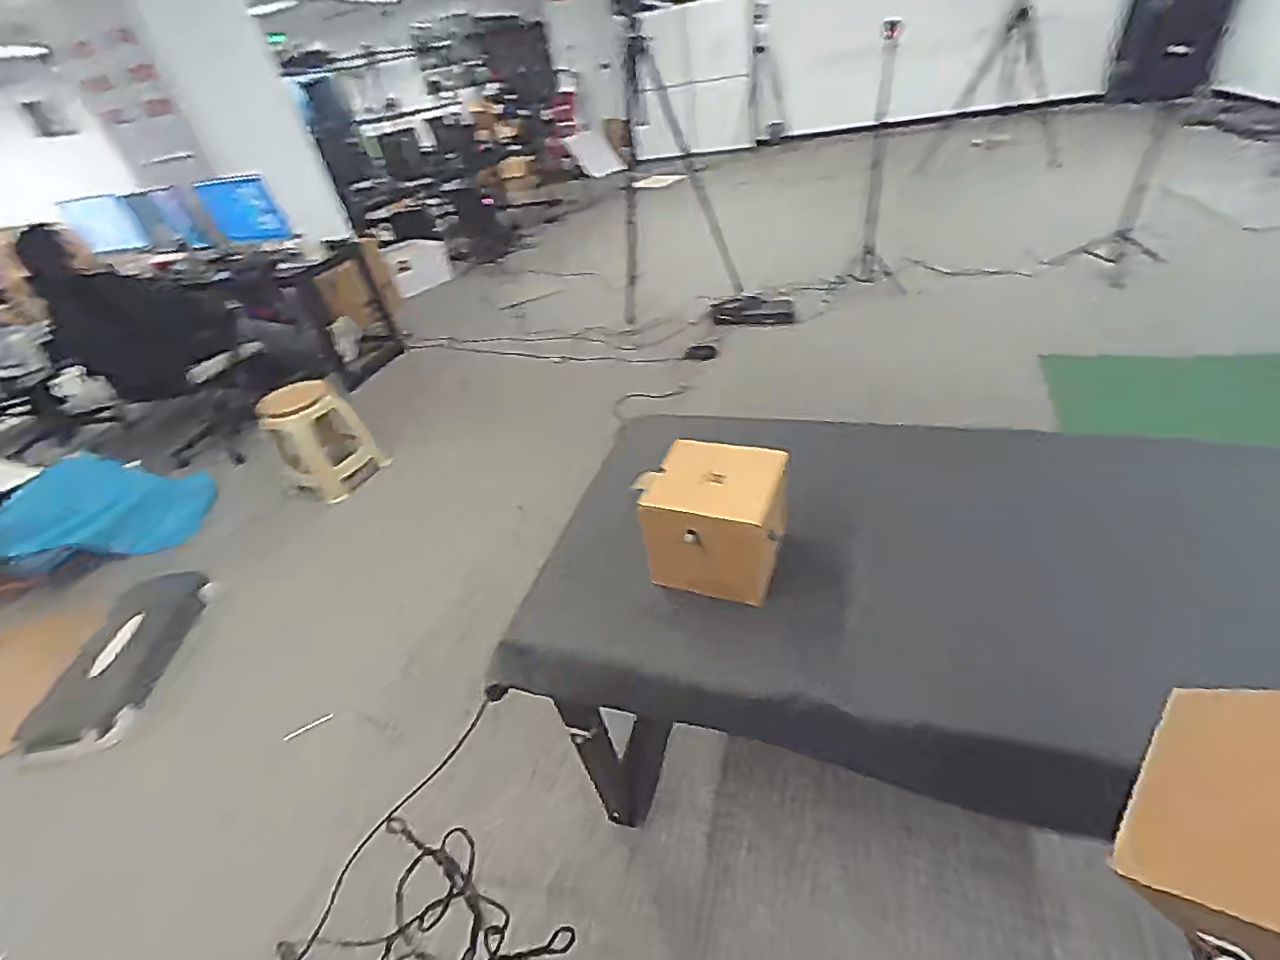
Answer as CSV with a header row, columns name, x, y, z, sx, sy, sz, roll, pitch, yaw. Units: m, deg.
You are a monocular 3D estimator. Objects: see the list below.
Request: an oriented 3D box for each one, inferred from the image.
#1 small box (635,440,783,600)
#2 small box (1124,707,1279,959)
name,x,y,z,sx,sy,sz,roll,pitch,yaw
small box,0.114,0.060,0.827,0.179,0.176,0.168,8,41,23
small box,0.492,0.275,0.363,0.168,0.176,0.179,39,72,11
